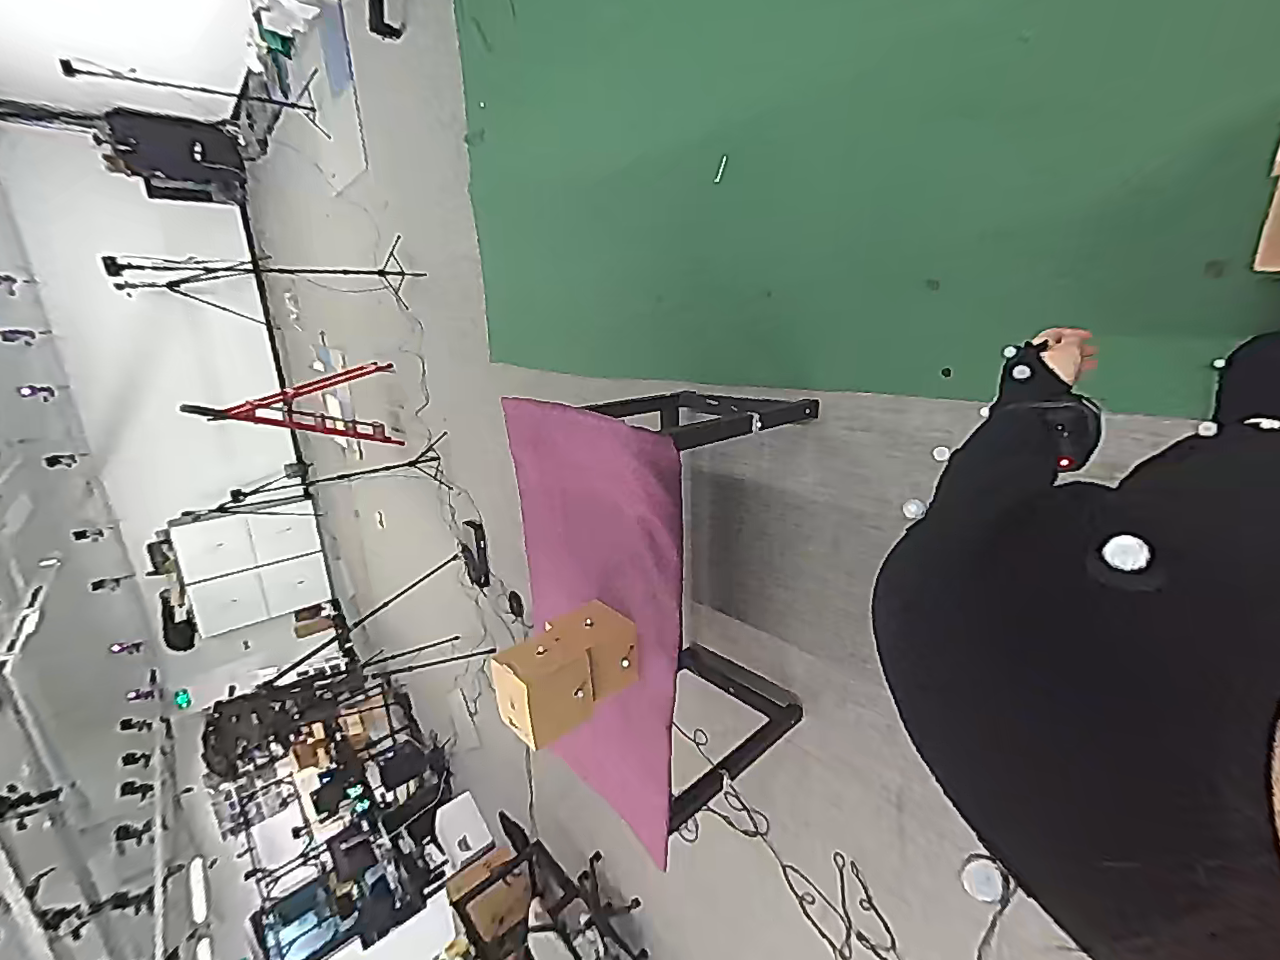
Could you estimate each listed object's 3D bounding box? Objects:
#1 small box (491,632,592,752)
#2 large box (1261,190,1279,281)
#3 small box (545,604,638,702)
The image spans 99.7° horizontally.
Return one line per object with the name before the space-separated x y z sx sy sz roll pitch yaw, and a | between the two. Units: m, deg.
small box | -0.228 0.485 1.272 0.168 0.176 0.179 13 111 47
large box | 1.114 -0.431 0.676 0.408 0.320 0.320 17 115 45
small box | -0.123 0.440 1.393 0.179 0.176 0.168 17 115 46
